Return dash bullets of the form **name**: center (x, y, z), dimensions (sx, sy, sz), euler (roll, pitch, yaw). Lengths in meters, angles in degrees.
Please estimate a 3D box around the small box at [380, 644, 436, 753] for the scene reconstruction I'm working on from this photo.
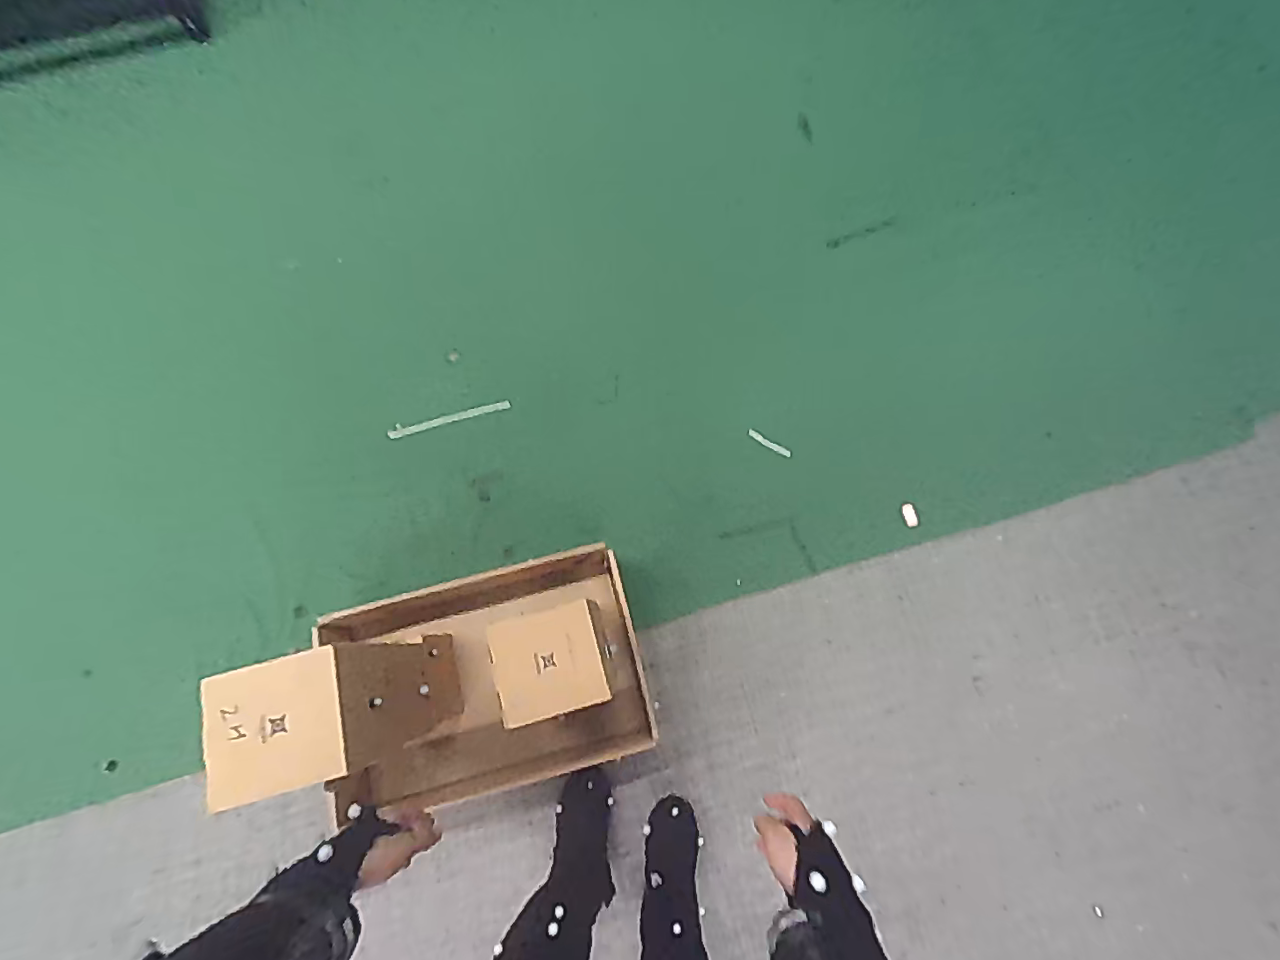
- **small box**: center (-0.476, 0.387, 0.930), dimensions (0.179, 0.176, 0.168), euler (-14, 75, -5)

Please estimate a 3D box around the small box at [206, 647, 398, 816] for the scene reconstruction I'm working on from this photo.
- **small box**: center (-0.466, 0.341, 0.771), dimensions (0.179, 0.176, 0.168), euler (-15, 74, -4)

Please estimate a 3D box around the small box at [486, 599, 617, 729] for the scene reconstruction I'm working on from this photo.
- **small box**: center (-0.146, 0.314, 0.947), dimensions (0.179, 0.176, 0.168), euler (-16, 77, -3)

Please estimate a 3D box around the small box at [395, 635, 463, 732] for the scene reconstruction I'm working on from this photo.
- **small box**: center (-0.474, 0.421, 1.090), dimensions (0.168, 0.176, 0.179), euler (-15, 75, -4)
